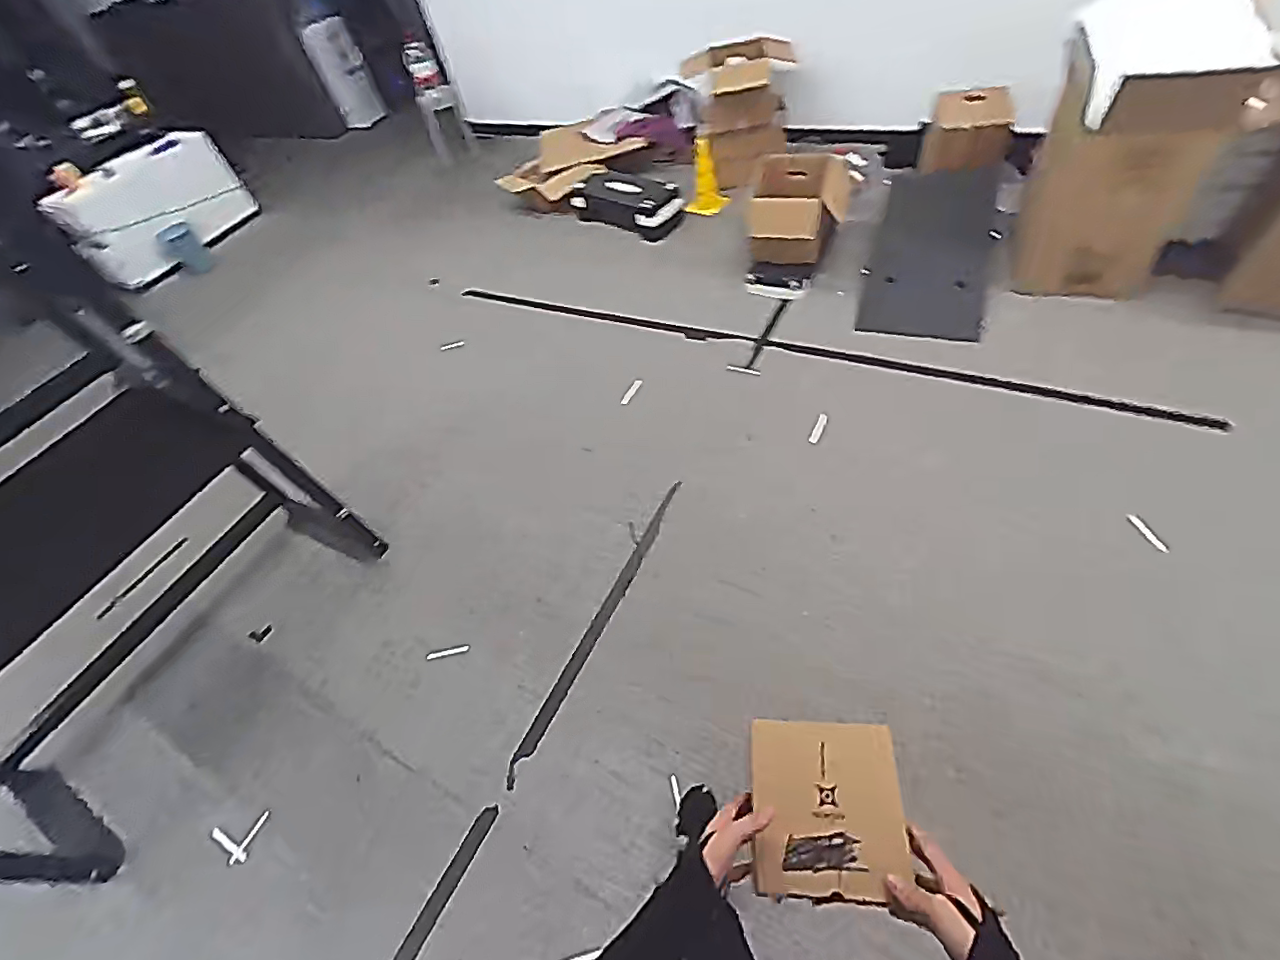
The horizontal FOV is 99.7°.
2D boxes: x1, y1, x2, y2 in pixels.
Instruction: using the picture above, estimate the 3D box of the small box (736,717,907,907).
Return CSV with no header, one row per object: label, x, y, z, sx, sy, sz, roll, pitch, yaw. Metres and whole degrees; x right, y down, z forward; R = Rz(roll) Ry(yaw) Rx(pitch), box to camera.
small box,0.207,0.406,0.671,0.168,0.176,0.179,-1,55,7
